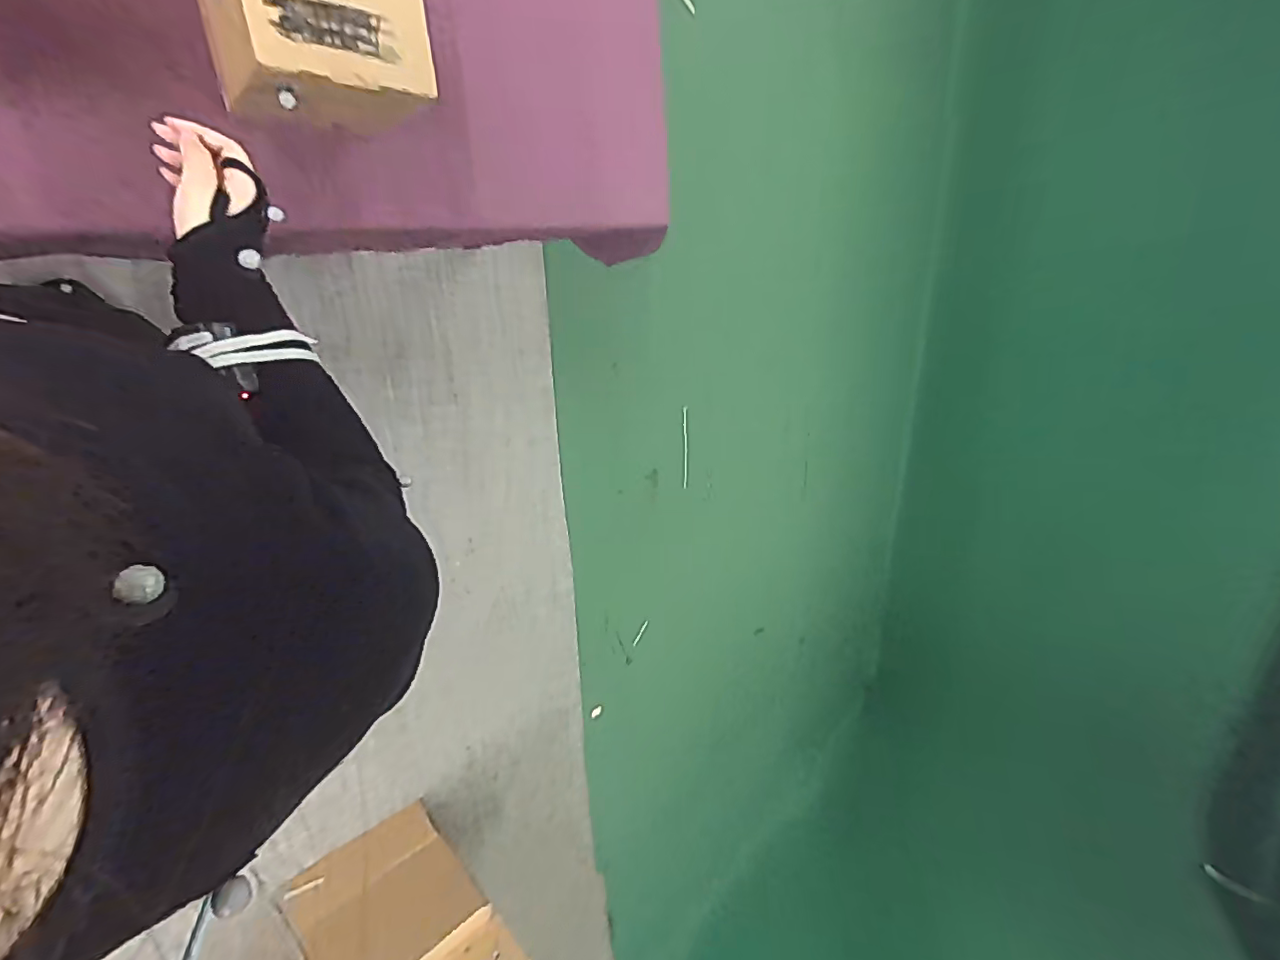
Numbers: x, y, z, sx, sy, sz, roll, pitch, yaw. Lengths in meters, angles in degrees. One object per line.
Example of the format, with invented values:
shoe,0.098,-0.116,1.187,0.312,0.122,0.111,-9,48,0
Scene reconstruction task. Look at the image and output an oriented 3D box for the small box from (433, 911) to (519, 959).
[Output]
small box,-0.435,1.308,1.441,0.168,0.176,0.179,-18,116,-40
